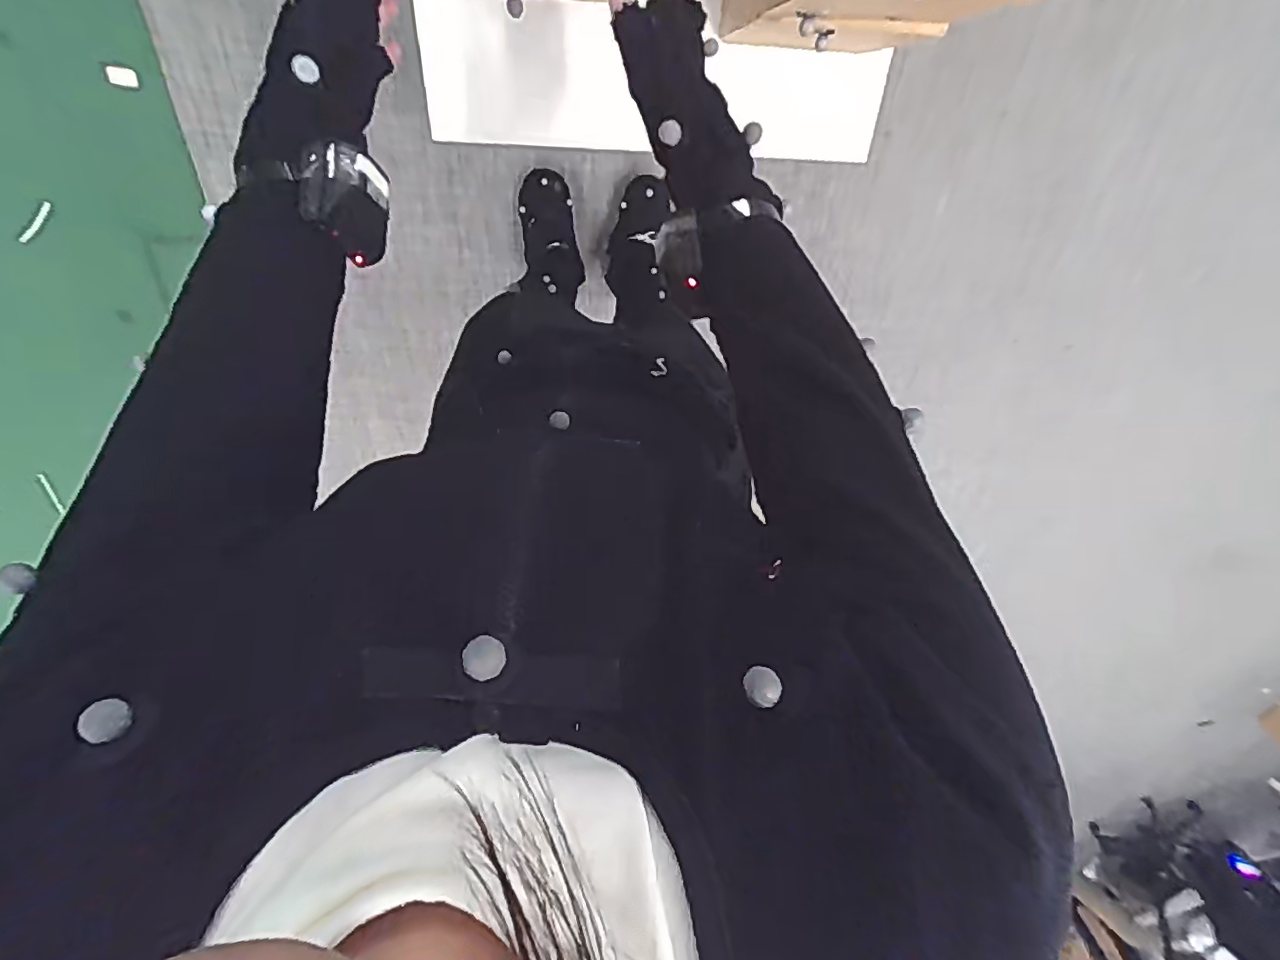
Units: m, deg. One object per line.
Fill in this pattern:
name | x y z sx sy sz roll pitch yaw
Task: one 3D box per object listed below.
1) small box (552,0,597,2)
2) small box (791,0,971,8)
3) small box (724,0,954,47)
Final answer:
small box | -0.101 -0.510 0.430 0.168 0.176 0.179 -3 127 -4
small box | 0.181 -0.407 0.323 0.168 0.176 0.179 -3 124 -3
small box | 0.174 -0.495 0.462 0.168 0.176 0.179 0 124 -4
